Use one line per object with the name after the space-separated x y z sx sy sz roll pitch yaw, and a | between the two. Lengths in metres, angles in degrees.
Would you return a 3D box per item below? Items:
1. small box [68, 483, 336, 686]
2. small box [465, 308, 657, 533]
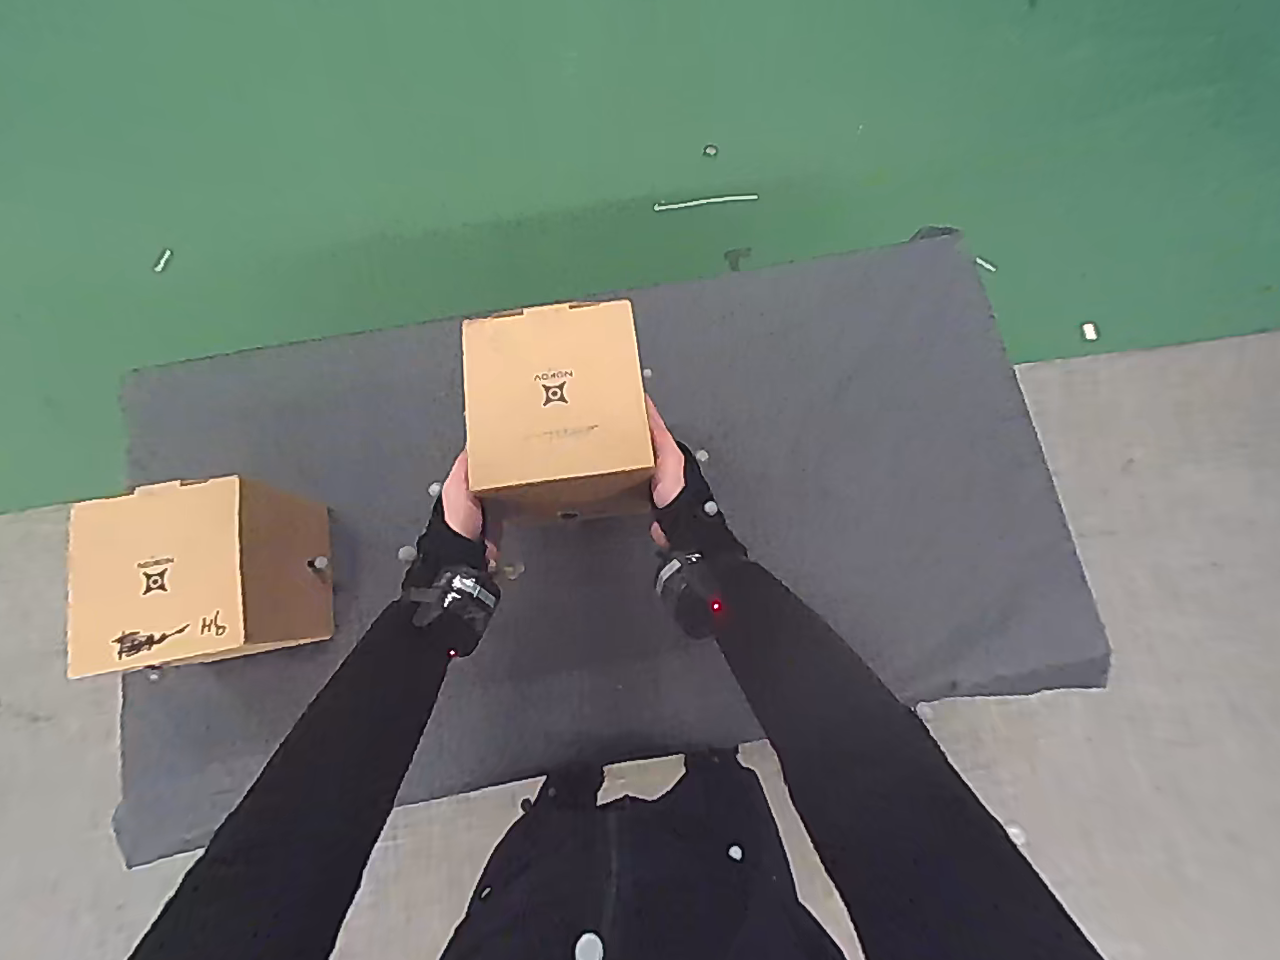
-0.469 0.118 0.608 0.168 0.176 0.179 -11 77 -2 | small box
-0.076 -0.052 0.569 0.168 0.176 0.179 -7 74 -1 | small box
